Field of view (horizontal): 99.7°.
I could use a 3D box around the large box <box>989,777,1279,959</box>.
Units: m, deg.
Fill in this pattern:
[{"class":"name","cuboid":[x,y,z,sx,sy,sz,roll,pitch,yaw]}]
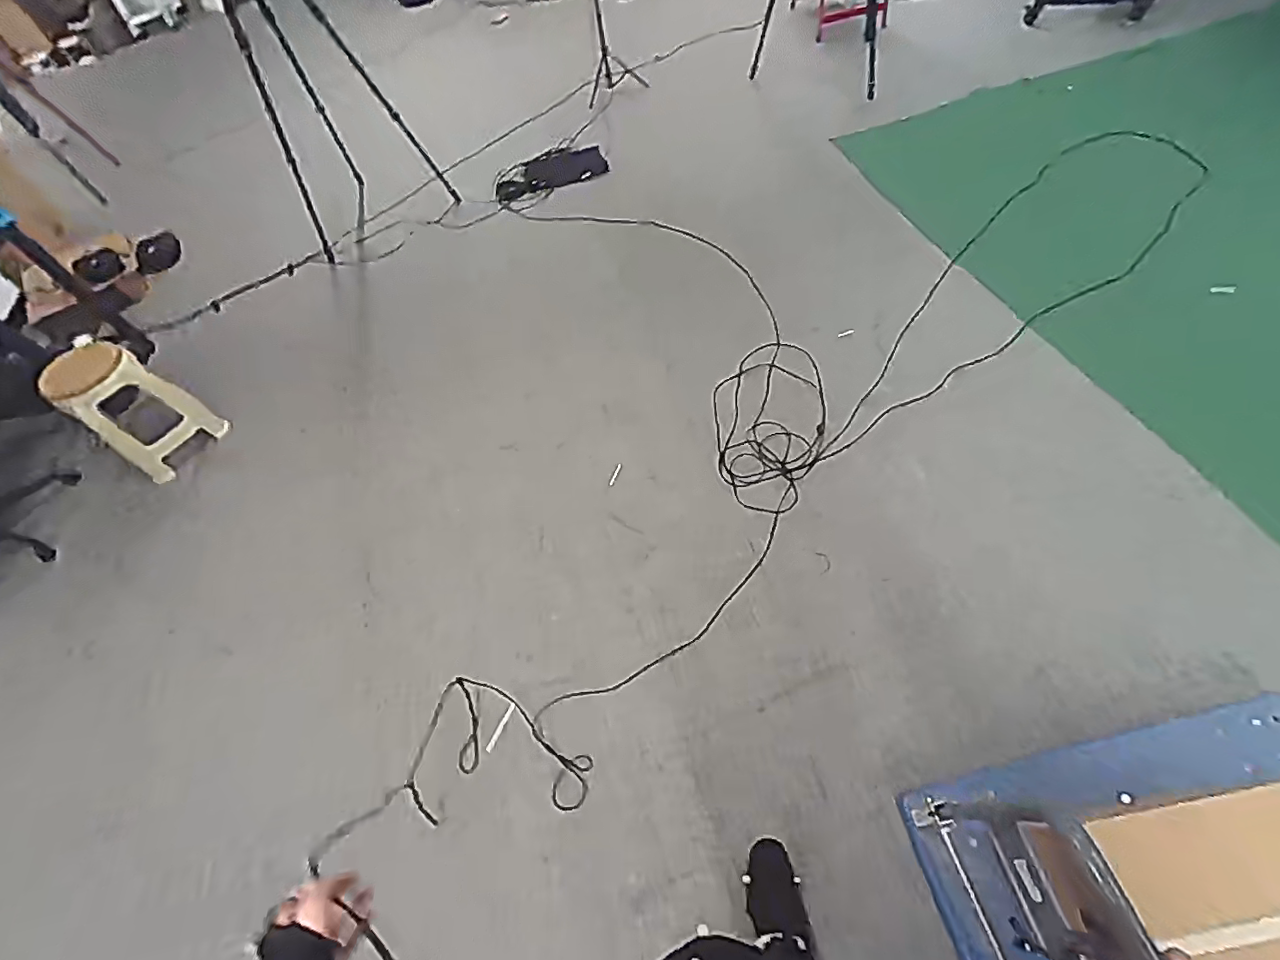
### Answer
[{"class":"large box","cuboid":[0.908,0.724,0.899,0.408,0.320,0.320,-13,56,1]}]
